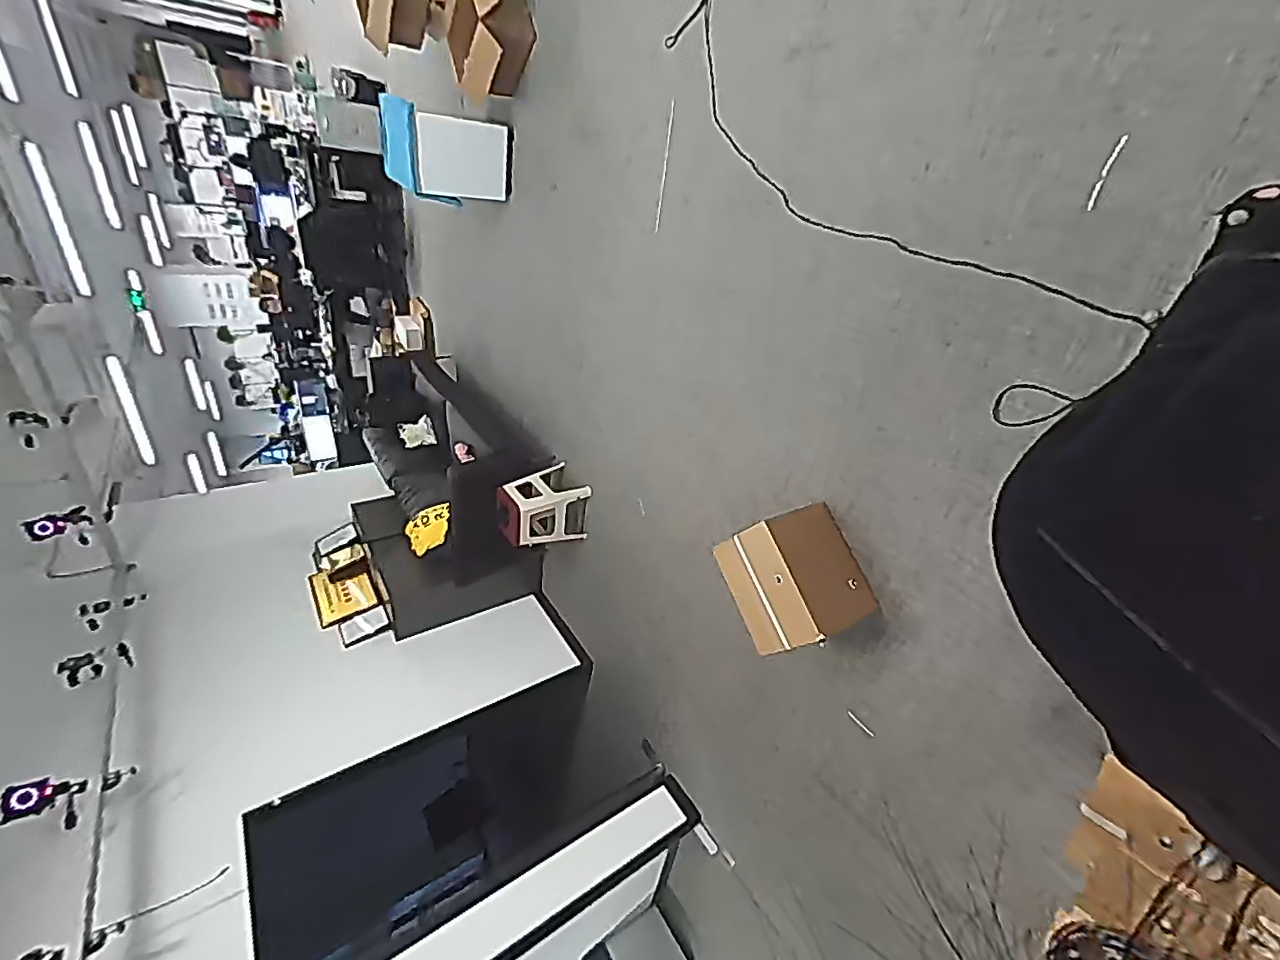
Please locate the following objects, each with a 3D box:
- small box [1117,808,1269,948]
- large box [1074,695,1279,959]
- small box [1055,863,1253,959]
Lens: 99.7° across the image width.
[{"bbox_3d":[0.946,0.728,0.946,0.168,0.176,0.179,27,122,50],"label":"small box"},{"bbox_3d":[1.170,0.706,1.052,0.408,0.320,0.320,25,122,49],"label":"large box"},{"bbox_3d":[0.809,0.760,0.860,0.179,0.176,0.168,25,121,50],"label":"small box"}]
